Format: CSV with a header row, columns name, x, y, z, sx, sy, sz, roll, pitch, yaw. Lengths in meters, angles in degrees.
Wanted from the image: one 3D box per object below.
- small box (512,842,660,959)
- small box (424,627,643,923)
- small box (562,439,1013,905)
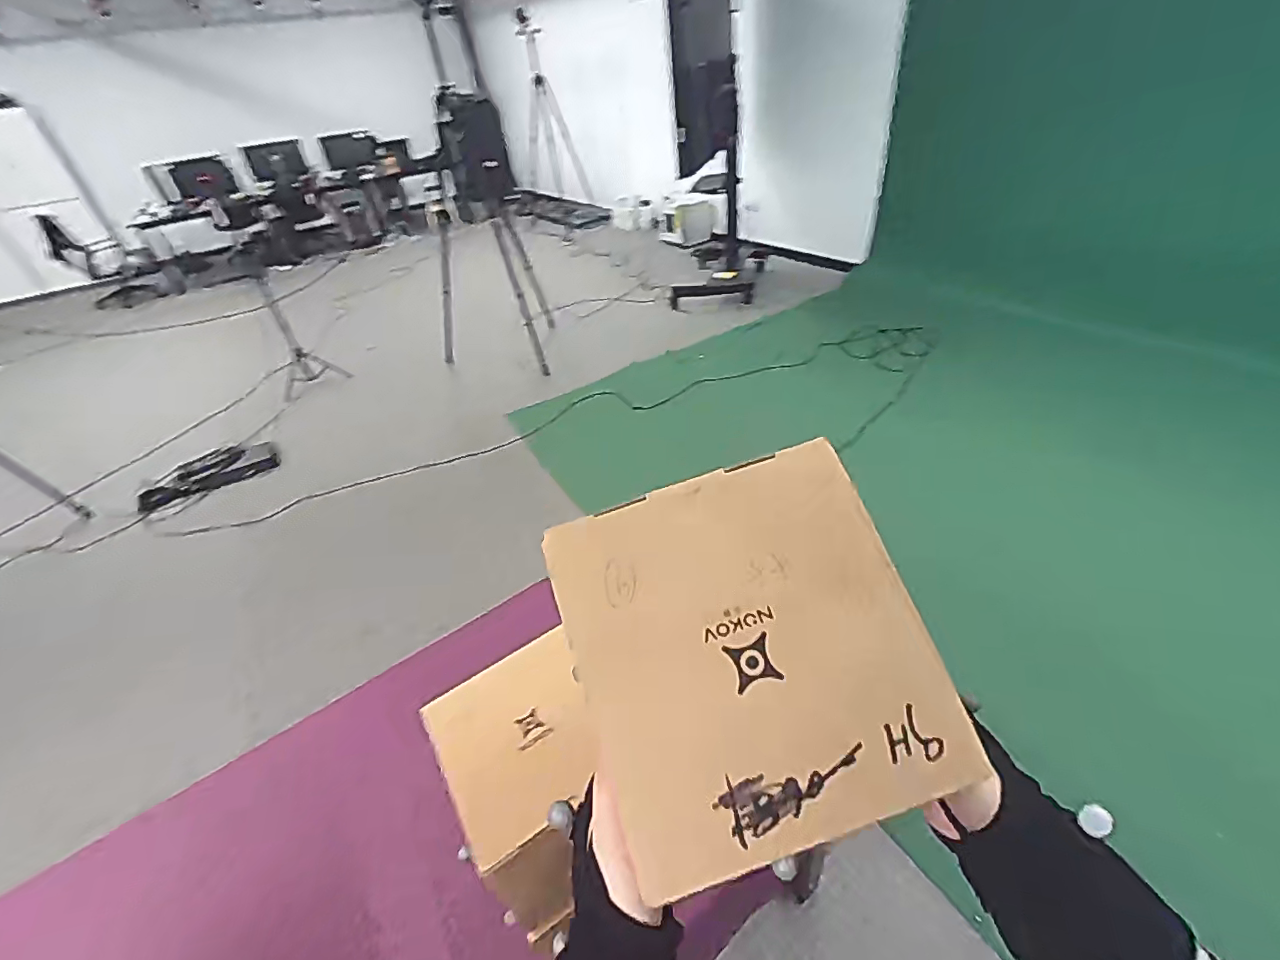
name,x,y,z,sx,sy,sz,roll,pitch,yaw
small box,-0.074,0.430,0.649,0.168,0.176,0.179,-28,42,-24
small box,-0.093,0.296,0.556,0.168,0.176,0.179,-28,43,-23
small box,0.064,0.104,0.333,0.168,0.176,0.179,-19,71,-2
